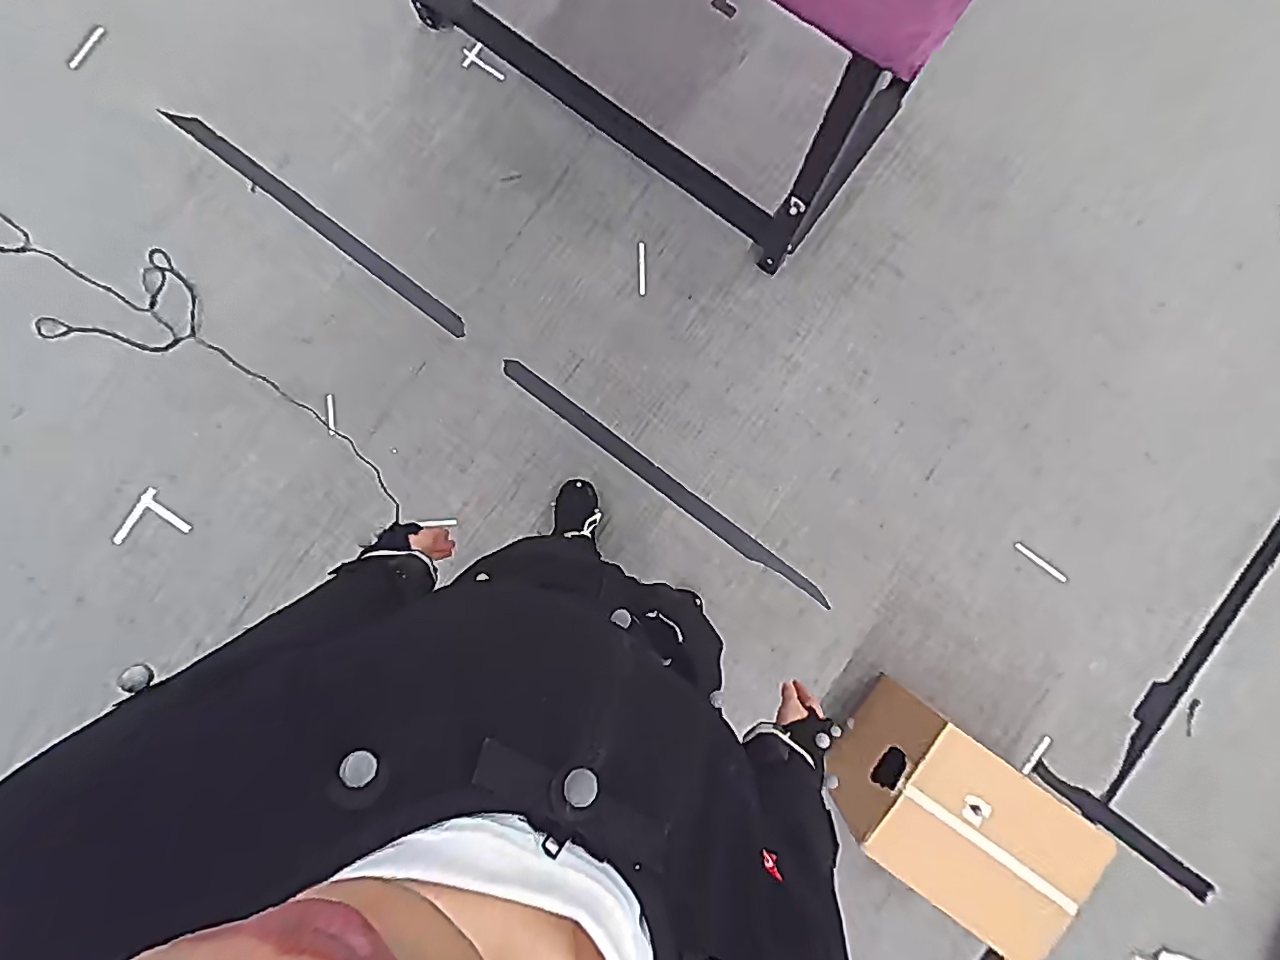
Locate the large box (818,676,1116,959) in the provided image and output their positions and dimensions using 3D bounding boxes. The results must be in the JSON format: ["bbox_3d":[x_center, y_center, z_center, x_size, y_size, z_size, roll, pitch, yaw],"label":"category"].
[{"bbox_3d":[0.684,0.718,1.203,0.408,0.320,0.320,35,89,3],"label":"large box"}]
